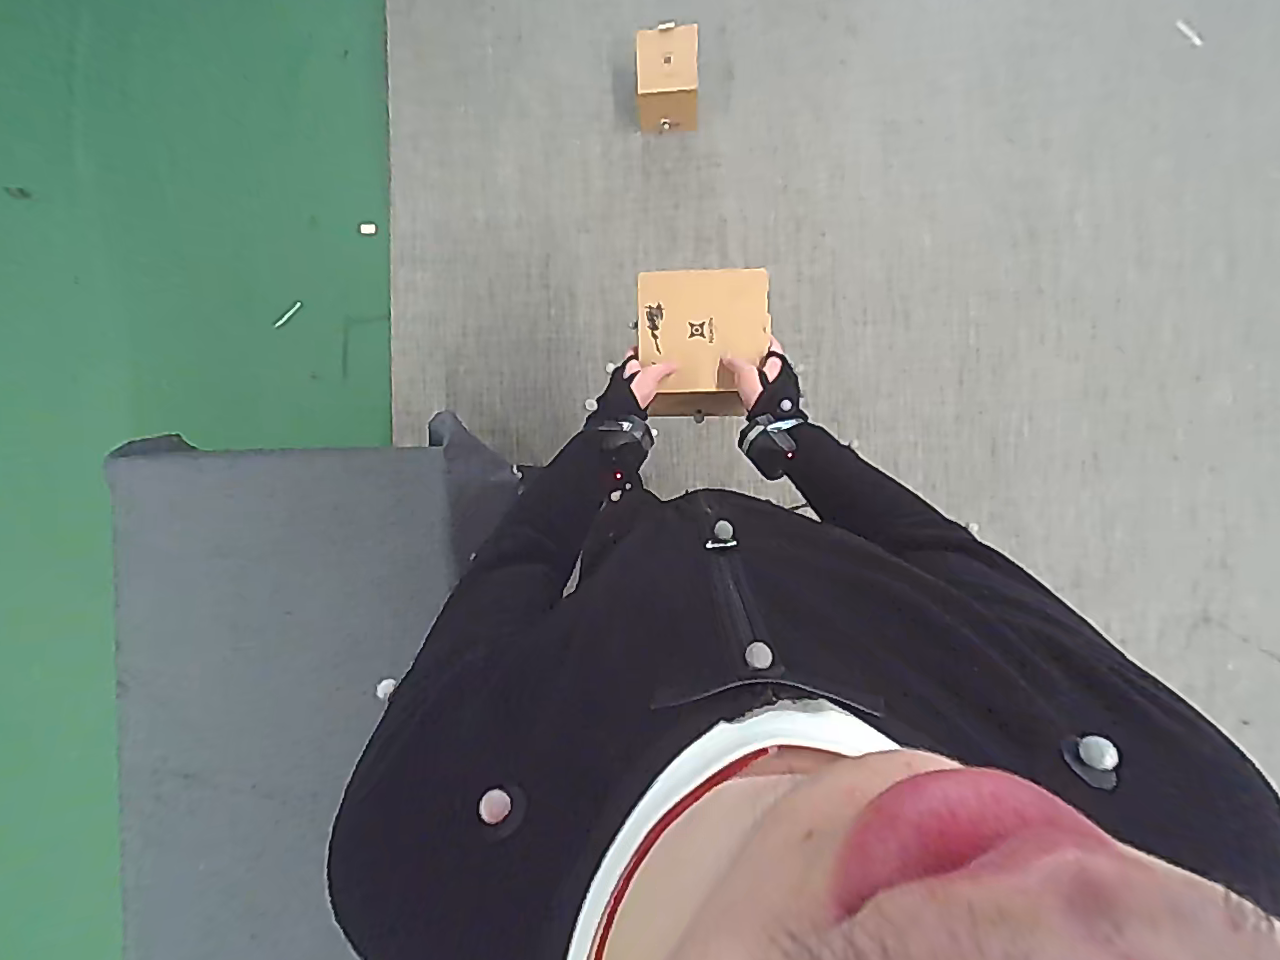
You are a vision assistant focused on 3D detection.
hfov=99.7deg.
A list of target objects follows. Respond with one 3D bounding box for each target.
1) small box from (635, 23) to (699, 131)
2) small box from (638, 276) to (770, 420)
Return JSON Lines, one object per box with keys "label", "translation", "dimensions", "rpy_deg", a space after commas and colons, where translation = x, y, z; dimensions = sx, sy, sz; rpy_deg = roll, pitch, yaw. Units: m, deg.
{"label": "small box", "translation": [0.079, -1.110, 1.501], "dimensions": [0.168, 0.176, 0.179], "rpy_deg": [1, 90, 7]}
{"label": "small box", "translation": [0.086, -0.185, 0.795], "dimensions": [0.179, 0.176, 0.168], "rpy_deg": [0, 85, 2]}
